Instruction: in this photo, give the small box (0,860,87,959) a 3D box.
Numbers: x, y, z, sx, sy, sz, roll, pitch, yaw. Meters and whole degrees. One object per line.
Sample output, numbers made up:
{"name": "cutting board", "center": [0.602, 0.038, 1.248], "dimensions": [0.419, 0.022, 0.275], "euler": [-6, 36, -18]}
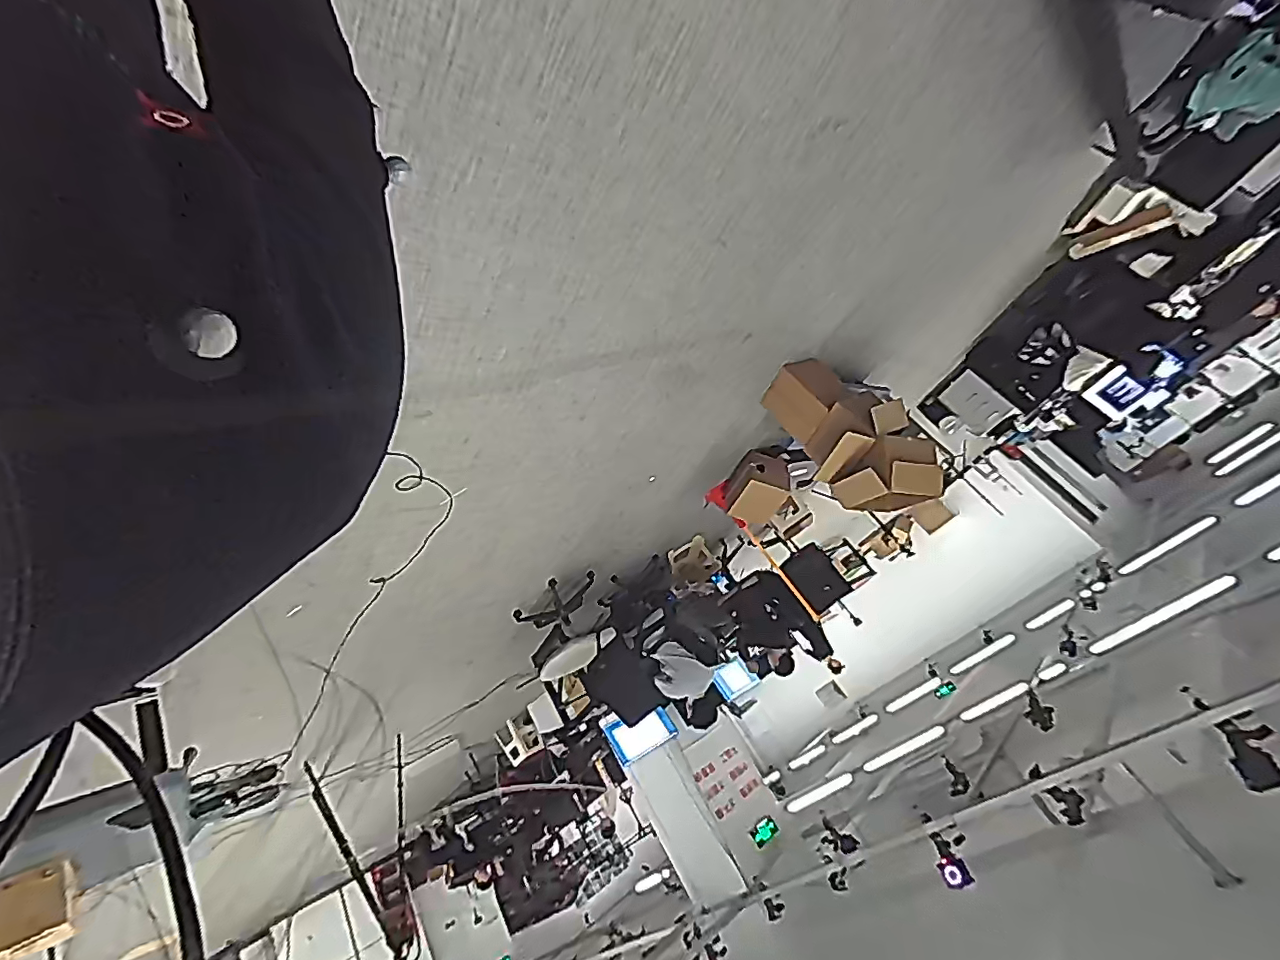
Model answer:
{"name": "small box", "center": [-1.583, 1.139, 1.414], "dimensions": [0.168, 0.176, 0.179], "euler": [-10, 145, -44]}
